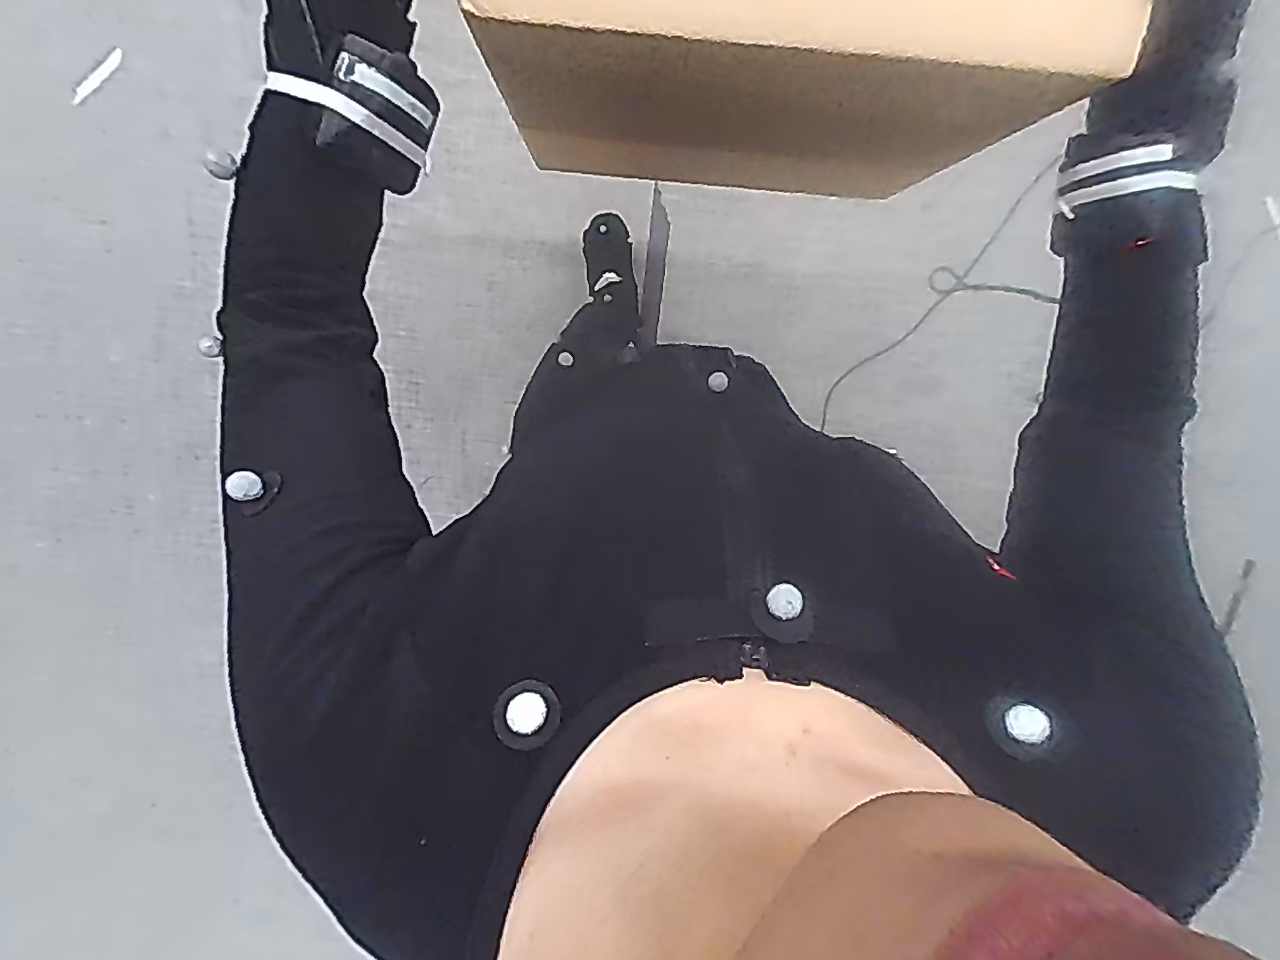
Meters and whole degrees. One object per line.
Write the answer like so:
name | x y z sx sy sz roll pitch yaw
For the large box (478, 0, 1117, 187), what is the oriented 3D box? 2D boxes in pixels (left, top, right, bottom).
large box | 0.096 -0.456 0.439 0.408 0.320 0.320 3 105 -4
